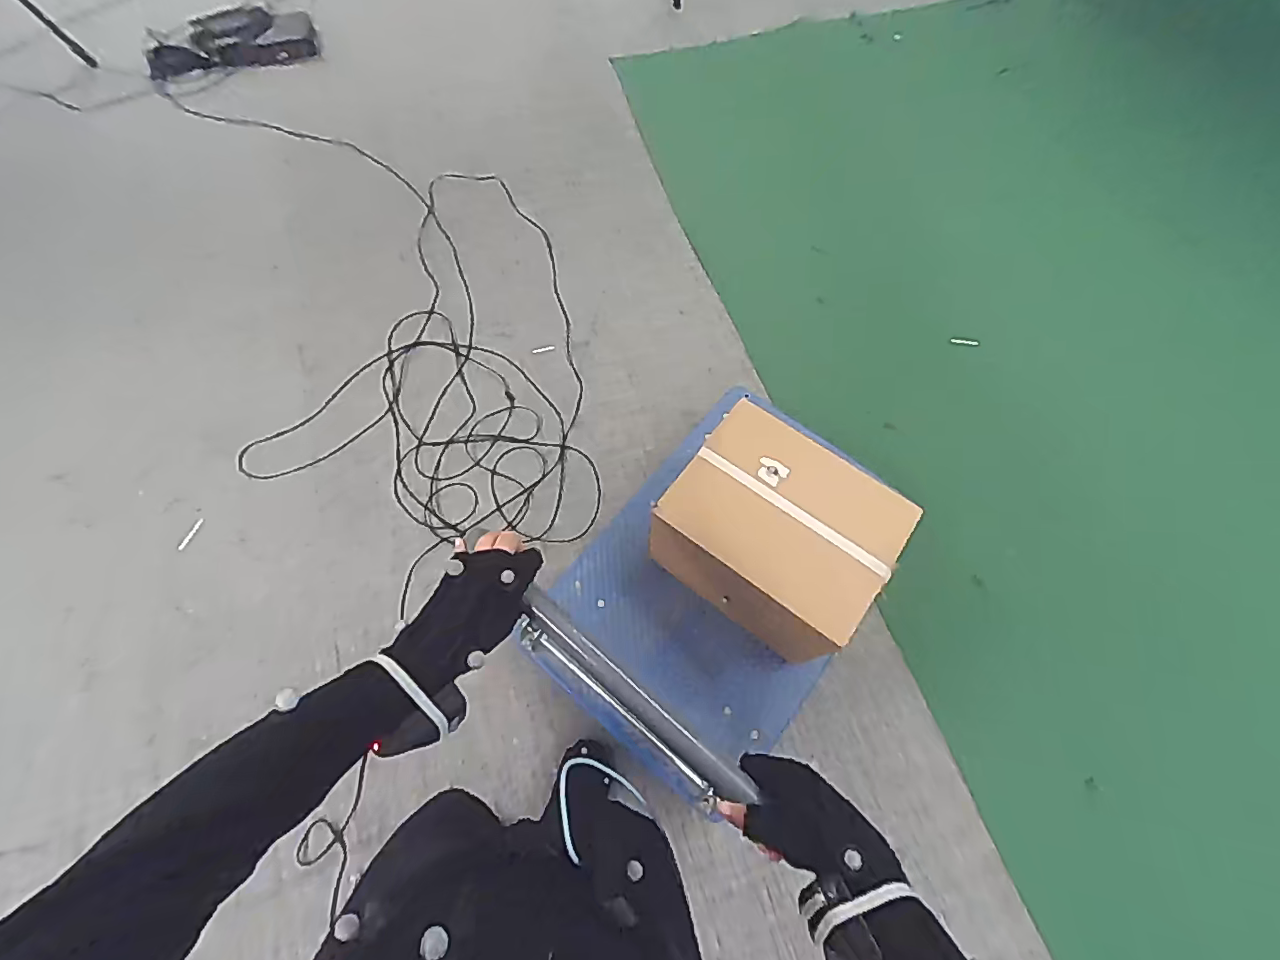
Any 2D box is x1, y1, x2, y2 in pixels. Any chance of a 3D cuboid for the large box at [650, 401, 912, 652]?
[{"bbox_3d":[0.270,0.112,1.152,0.408,0.320,0.320,34,70,14],"label":"large box"}]
